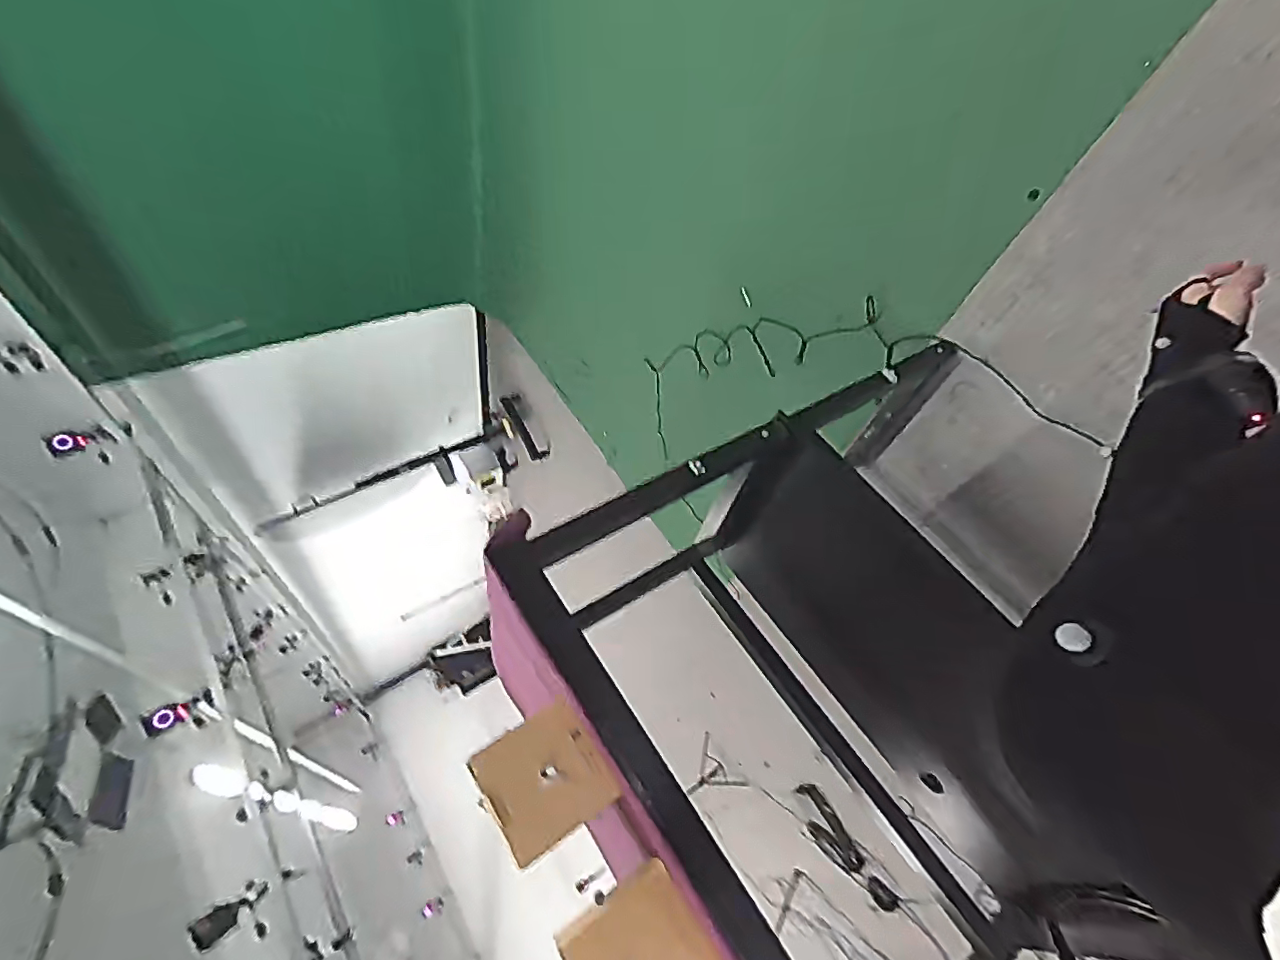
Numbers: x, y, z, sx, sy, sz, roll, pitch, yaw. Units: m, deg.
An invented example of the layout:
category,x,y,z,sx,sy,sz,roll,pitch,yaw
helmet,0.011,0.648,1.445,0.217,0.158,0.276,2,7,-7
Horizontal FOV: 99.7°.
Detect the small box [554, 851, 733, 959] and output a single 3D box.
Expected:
category,x,y,z,sx,sy,sz,roll,pitch,yaw
small box,0.002,0.640,0.735,0.179,0.176,0.168,51,150,23
